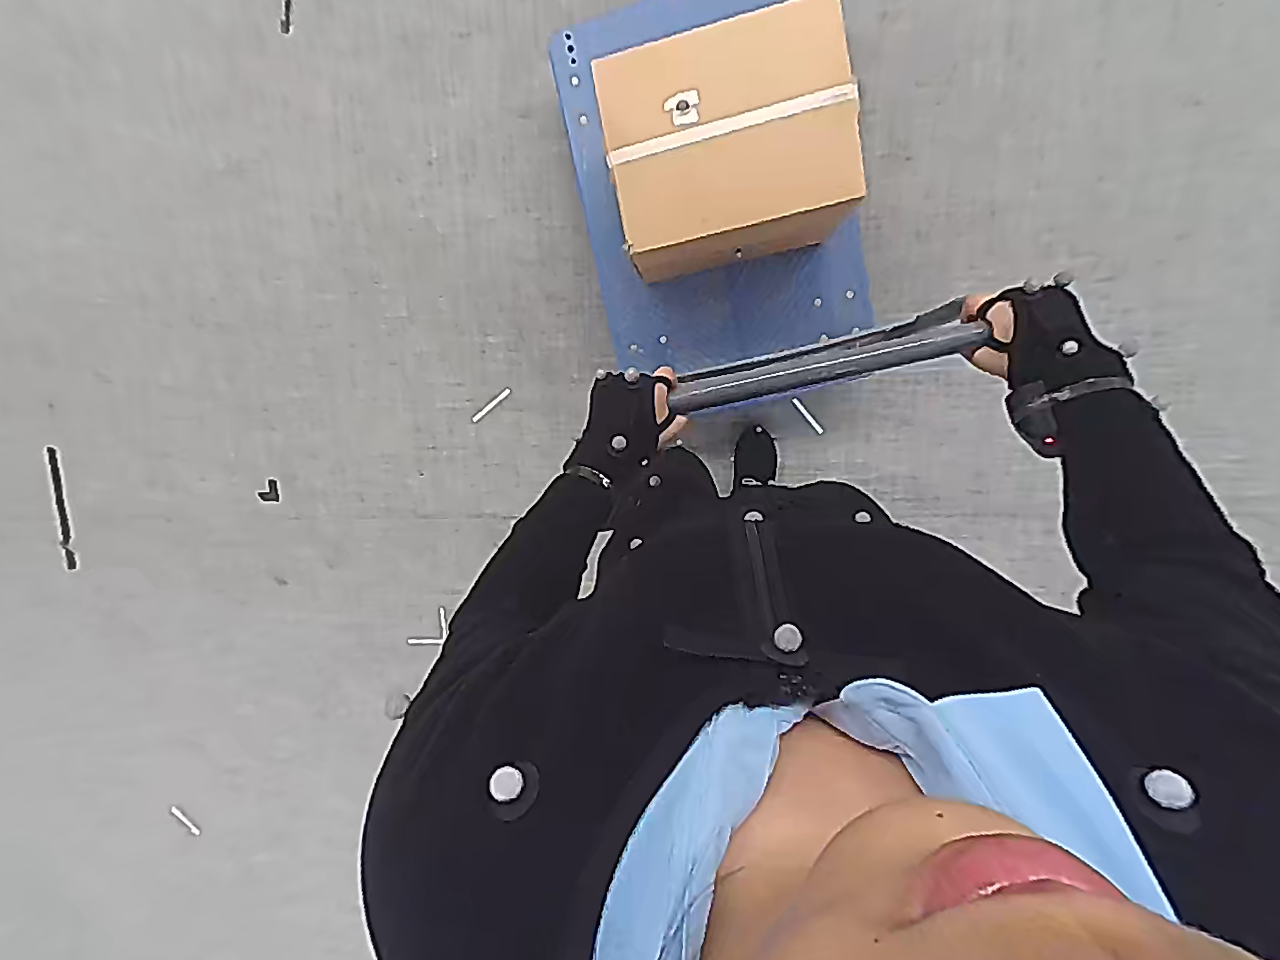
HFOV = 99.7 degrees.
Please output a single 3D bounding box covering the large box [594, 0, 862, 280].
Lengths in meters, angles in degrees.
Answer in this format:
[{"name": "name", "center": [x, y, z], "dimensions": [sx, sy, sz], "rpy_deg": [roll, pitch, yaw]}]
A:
[{"name": "large box", "center": [0.164, -0.614, 1.050], "dimensions": [0.408, 0.320, 0.320], "rpy_deg": [-11, 98, 9]}]
